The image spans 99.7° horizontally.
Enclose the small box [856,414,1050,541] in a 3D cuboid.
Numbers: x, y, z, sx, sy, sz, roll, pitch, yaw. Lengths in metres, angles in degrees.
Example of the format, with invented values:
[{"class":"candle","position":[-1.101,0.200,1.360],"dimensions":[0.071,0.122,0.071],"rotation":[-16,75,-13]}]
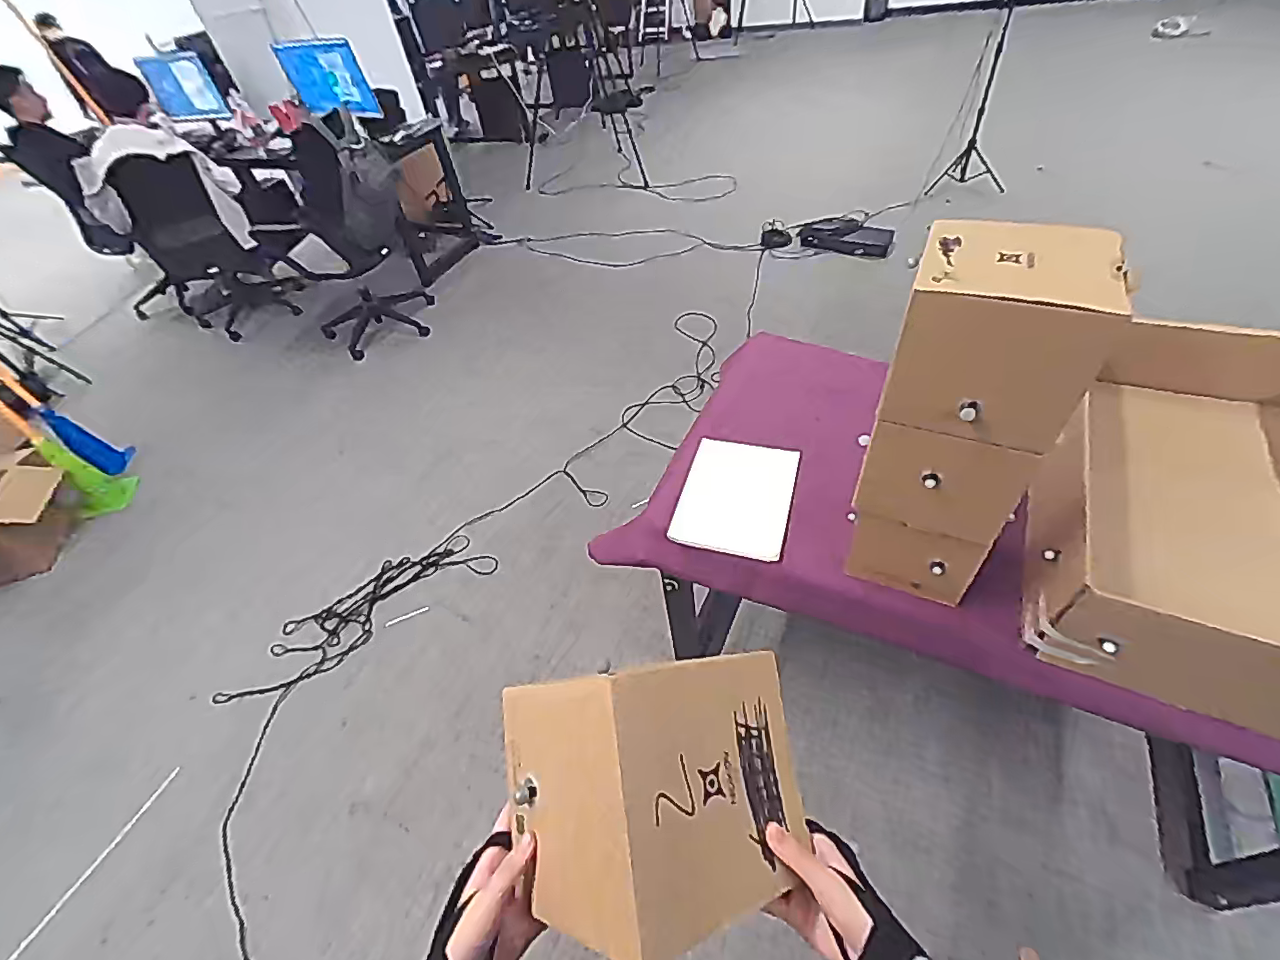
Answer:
[{"class":"small box","position":[0.402,-0.044,0.709],"dimensions":[0.179,0.176,0.168],"rotation":[16,51,23]}]

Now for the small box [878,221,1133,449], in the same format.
[{"class":"small box","position":[0.382,-0.156,0.590],"dimensions":[0.179,0.176,0.168],"rotation":[17,51,22]}]

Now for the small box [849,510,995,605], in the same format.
[{"class":"small box","position":[0.432,0.062,0.830],"dimensions":[0.168,0.176,0.179],"rotation":[17,51,23]}]
